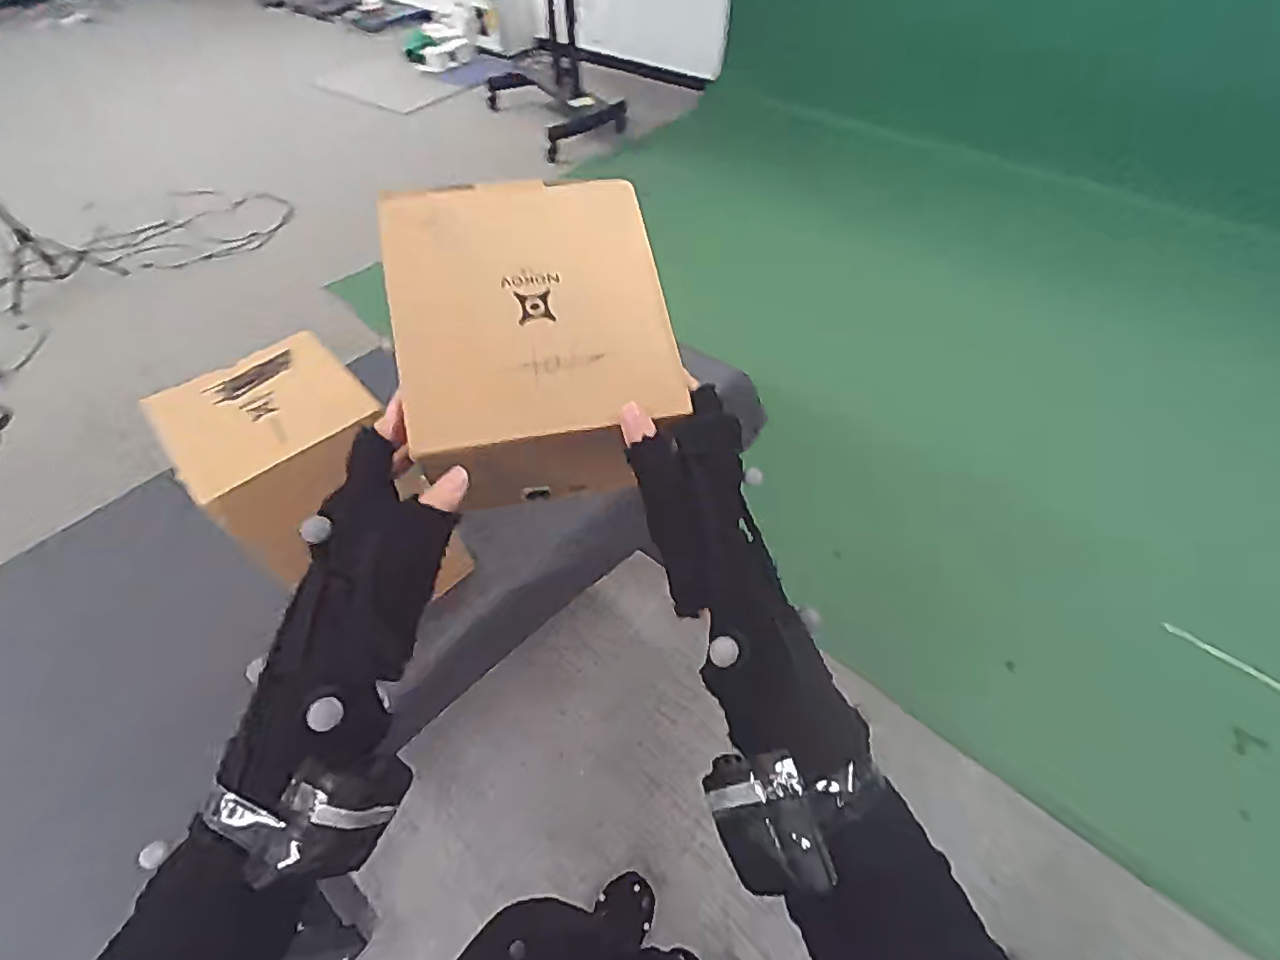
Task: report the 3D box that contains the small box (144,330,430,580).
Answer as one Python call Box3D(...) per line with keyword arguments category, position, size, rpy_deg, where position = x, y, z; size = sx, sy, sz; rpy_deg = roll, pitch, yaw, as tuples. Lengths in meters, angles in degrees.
Box3D(category="small box", position=(-0.363, -0.025, 0.582), size=(0.179, 0.176, 0.168), rpy_deg=(35, 61, 27))

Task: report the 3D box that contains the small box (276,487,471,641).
Box3D(category="small box", position=(-0.355, 0.078, 0.710), size=(0.168, 0.176, 0.179), rpy_deg=(36, 62, 26))
